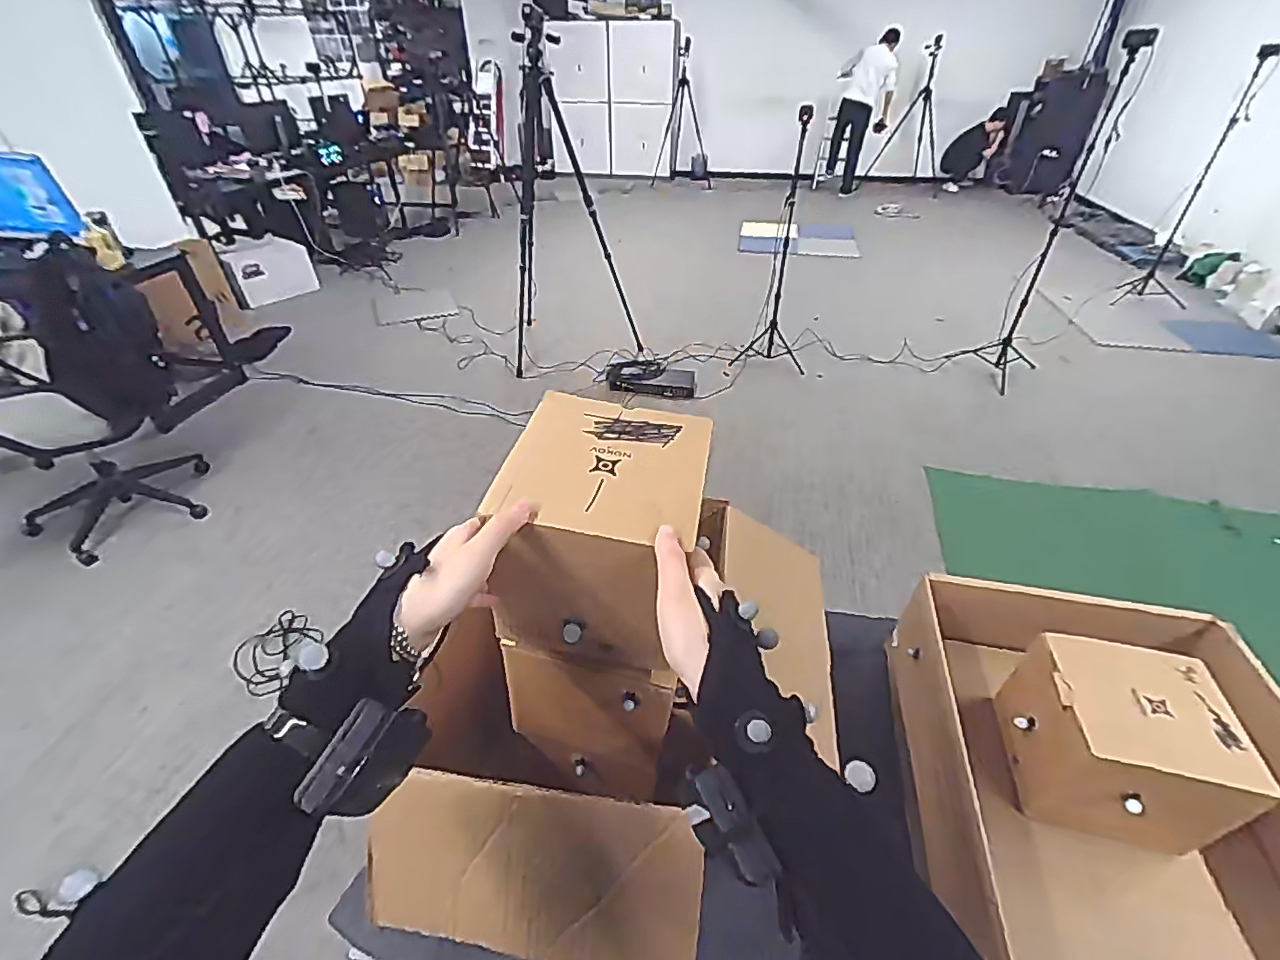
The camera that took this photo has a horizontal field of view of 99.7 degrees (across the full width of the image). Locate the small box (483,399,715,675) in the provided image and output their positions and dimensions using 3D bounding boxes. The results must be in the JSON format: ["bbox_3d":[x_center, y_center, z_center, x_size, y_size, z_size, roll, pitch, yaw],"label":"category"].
[{"bbox_3d":[-0.030,0.051,0.511,0.168,0.176,0.179,10,42,6],"label":"small box"}]

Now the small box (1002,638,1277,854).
[{"bbox_3d":[0.578,0.325,0.666,0.179,0.176,0.168,8,40,13],"label":"small box"}]
